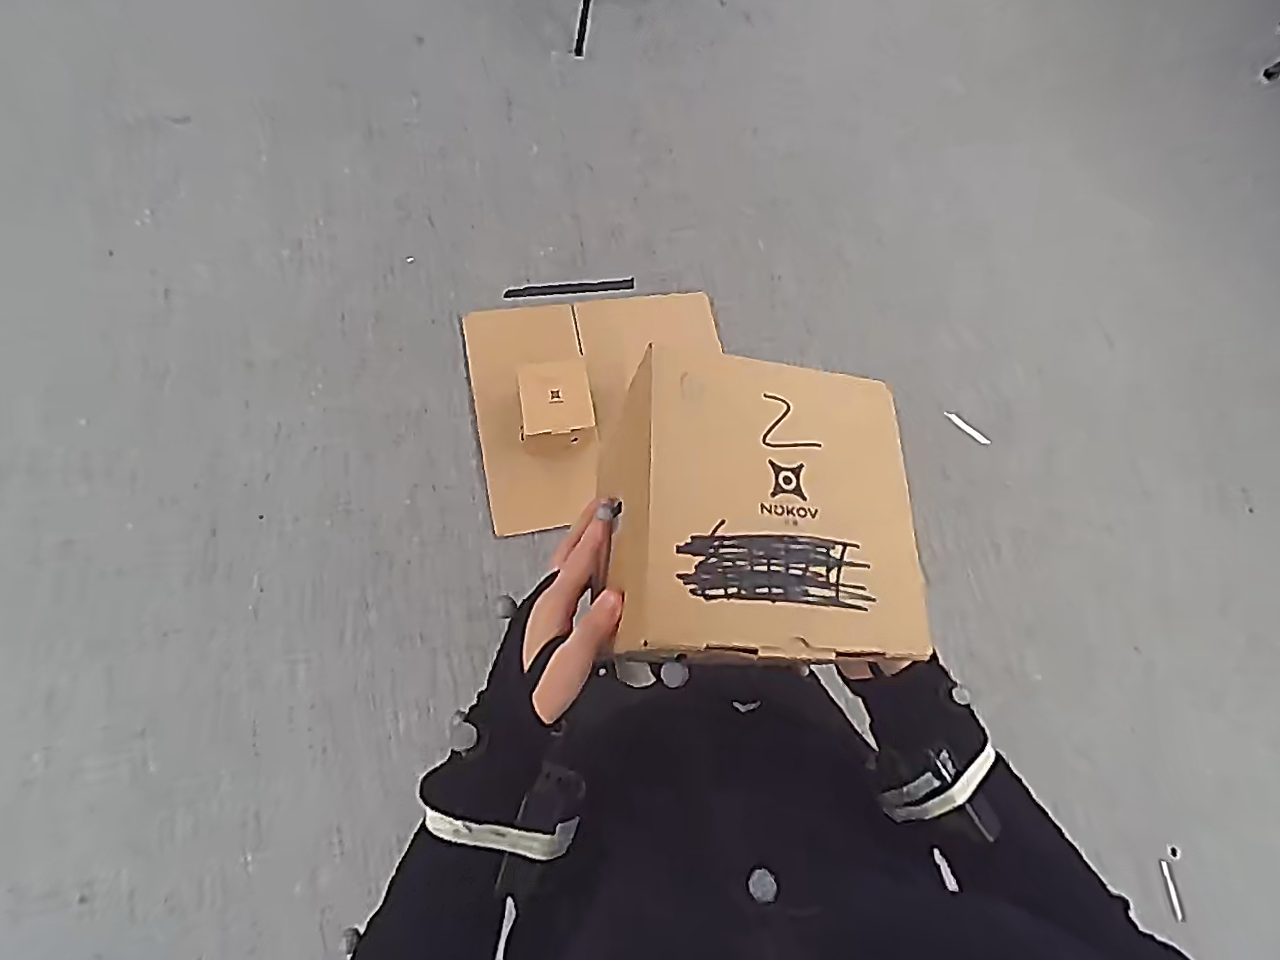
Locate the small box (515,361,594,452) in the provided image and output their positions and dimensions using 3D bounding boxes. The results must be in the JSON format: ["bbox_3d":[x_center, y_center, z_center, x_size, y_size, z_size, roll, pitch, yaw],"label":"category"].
[{"bbox_3d":[-0.213,-0.173,1.334,0.168,0.176,0.179,-8,78,-14],"label":"small box"}]
